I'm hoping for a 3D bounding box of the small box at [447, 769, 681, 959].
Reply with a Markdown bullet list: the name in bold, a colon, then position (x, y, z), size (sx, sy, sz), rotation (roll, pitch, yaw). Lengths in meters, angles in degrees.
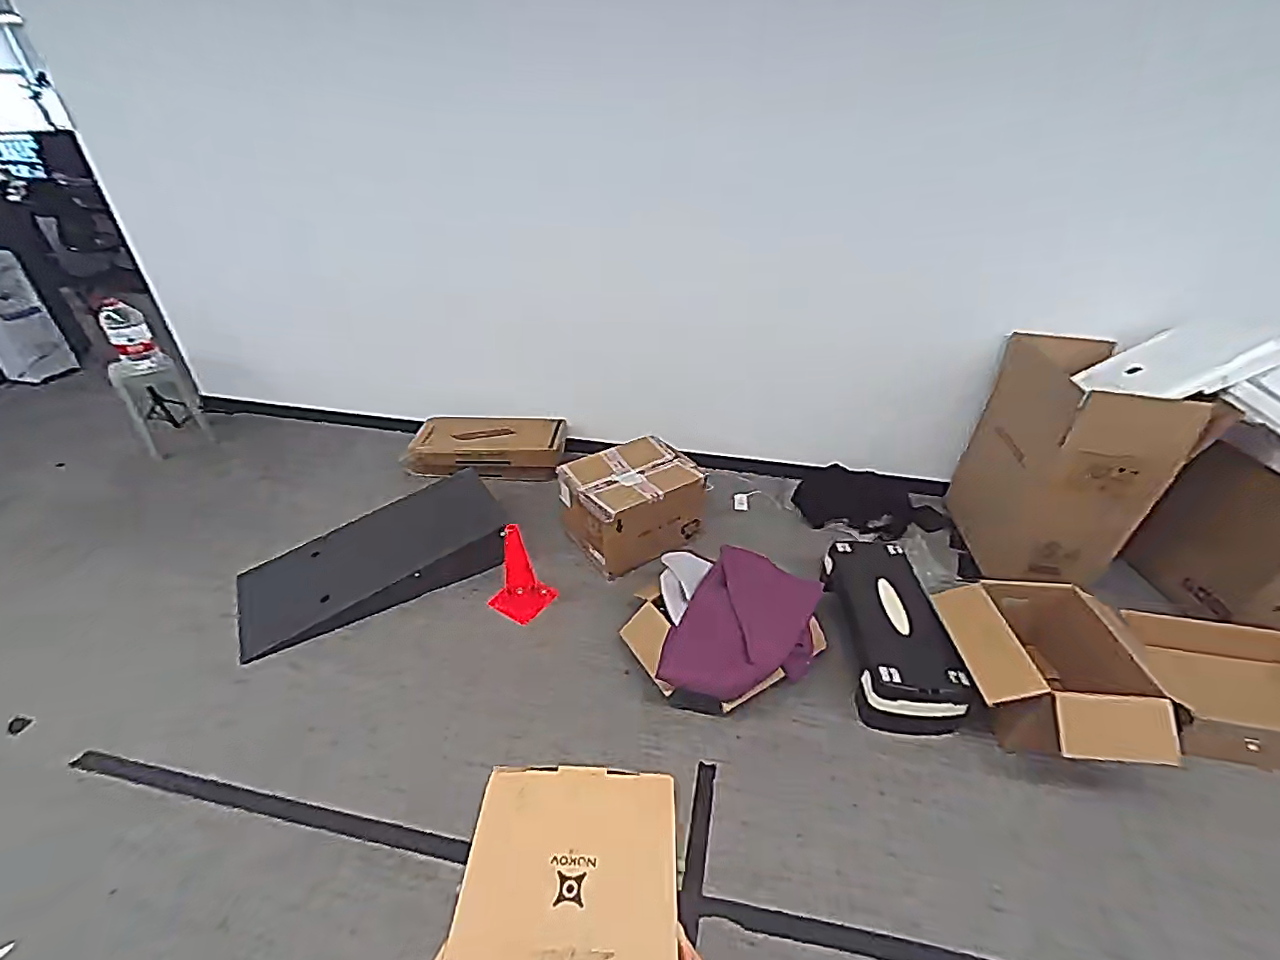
- **small box**: position (-0.055, 0.377, 0.455), size (0.168, 0.176, 0.179), rotation (3, 34, 0)
